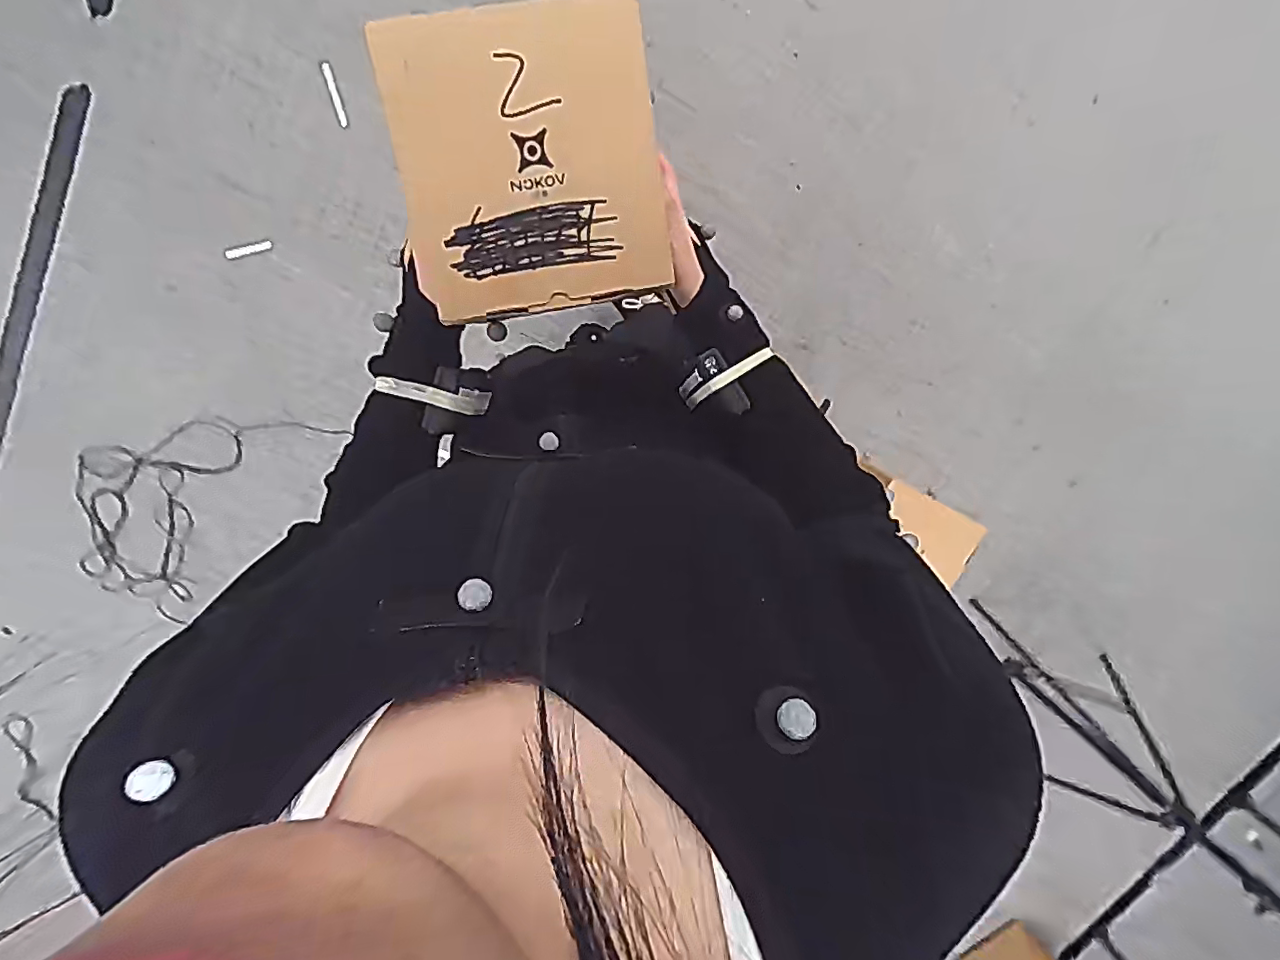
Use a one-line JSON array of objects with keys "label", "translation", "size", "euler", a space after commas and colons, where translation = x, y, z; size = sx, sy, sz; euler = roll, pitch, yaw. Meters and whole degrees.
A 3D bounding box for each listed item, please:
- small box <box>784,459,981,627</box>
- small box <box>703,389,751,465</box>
[{"label": "small box", "translation": [0.353, 0.086, 0.821], "size": [0.179, 0.176, 0.168], "euler": [26, 103, -13]}, {"label": "small box", "translation": [0.282, -0.122, 1.437], "size": [0.168, 0.176, 0.179], "euler": [26, 104, -14]}]
